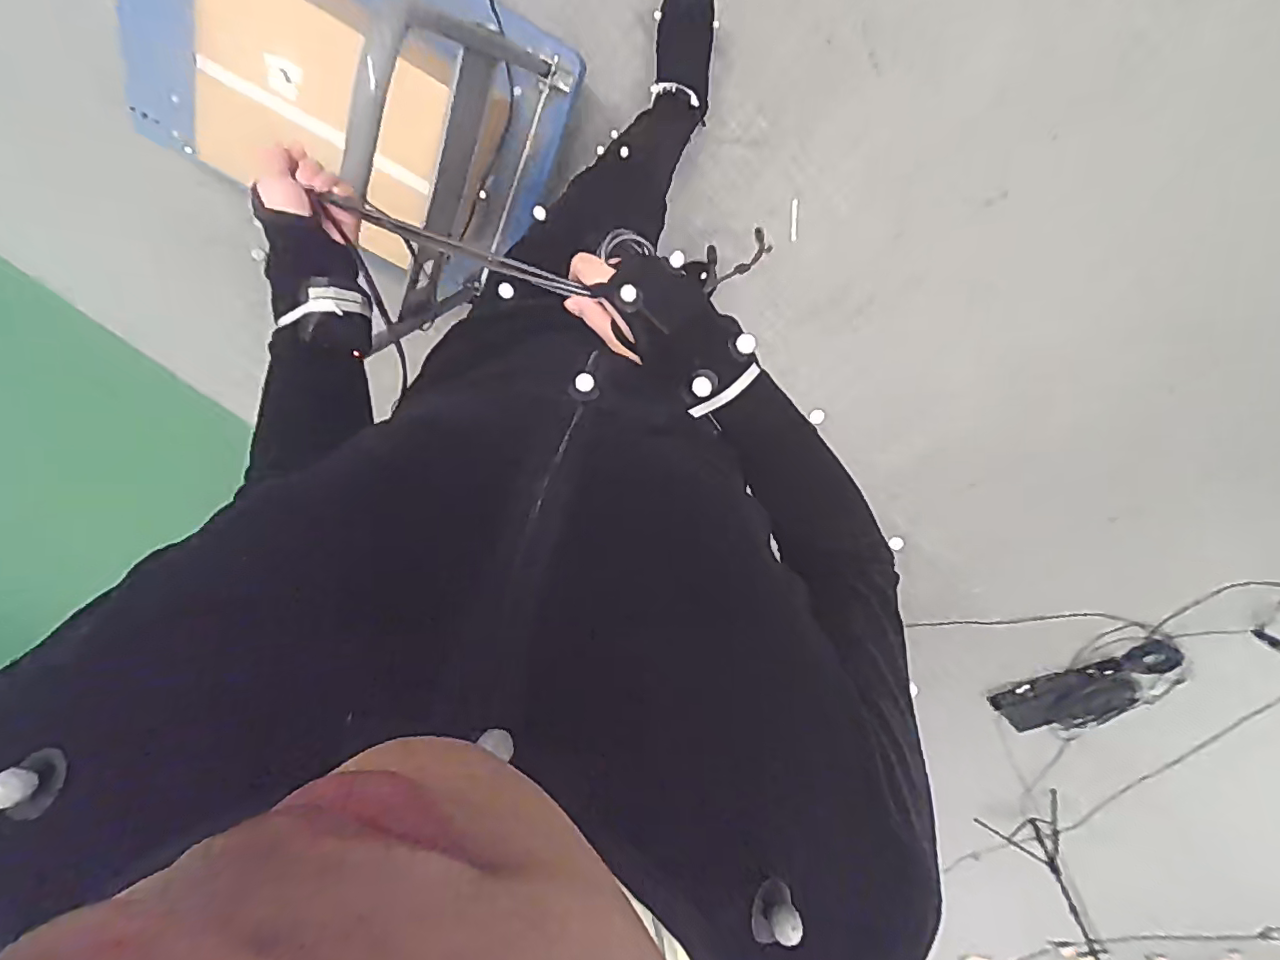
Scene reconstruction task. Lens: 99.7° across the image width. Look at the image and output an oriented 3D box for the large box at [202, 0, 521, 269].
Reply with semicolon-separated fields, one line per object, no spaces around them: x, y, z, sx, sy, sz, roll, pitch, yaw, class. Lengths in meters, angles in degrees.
-0.490;-0.662;1.005;0.408;0.320;0.320;27;123;-11;large box
